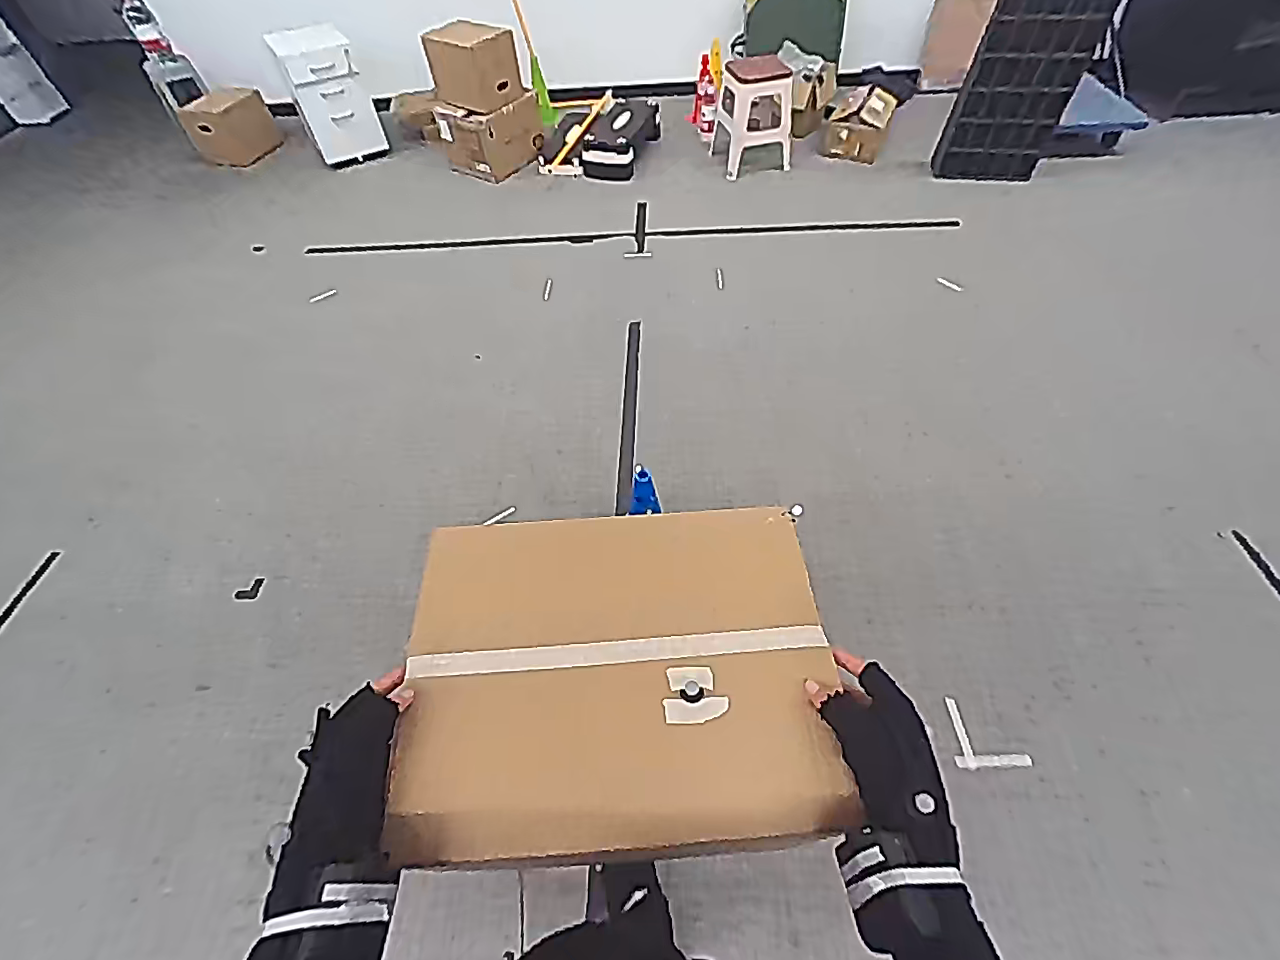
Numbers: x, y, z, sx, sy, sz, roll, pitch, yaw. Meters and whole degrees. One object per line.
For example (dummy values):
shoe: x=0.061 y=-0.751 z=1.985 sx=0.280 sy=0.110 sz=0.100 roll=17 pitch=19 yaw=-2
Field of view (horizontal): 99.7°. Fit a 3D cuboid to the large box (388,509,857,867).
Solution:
large box: x=-0.022 y=0.258 z=0.657 sx=0.408 sy=0.320 sz=0.320 roll=-3 pitch=53 yaw=-1
